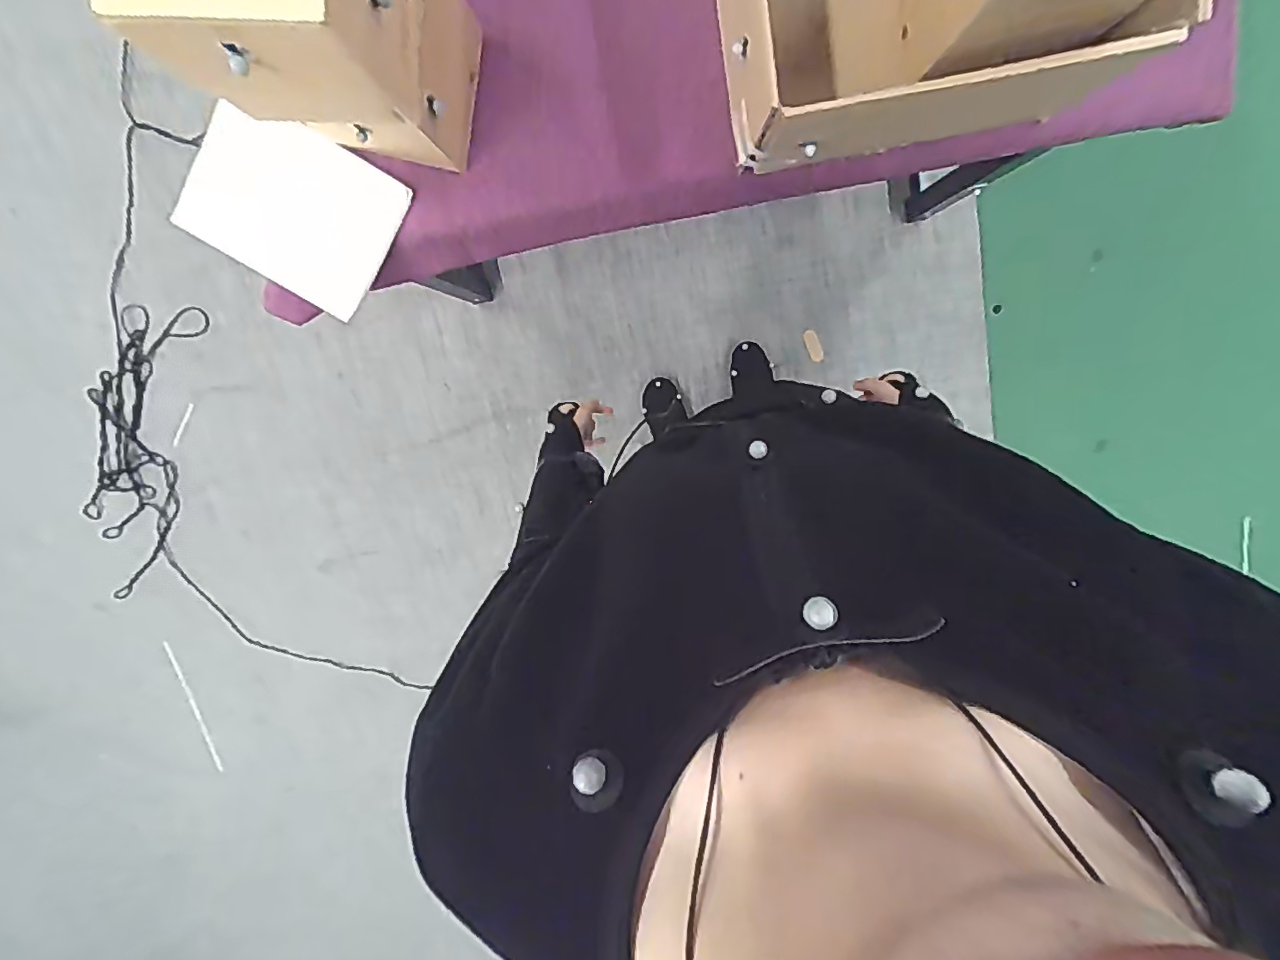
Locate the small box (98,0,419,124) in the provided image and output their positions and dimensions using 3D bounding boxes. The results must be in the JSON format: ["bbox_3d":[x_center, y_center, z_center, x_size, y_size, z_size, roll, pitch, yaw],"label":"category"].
[{"bbox_3d":[-0.300,-0.426,0.454,0.179,0.176,0.168,3,102,2],"label":"small box"}]
